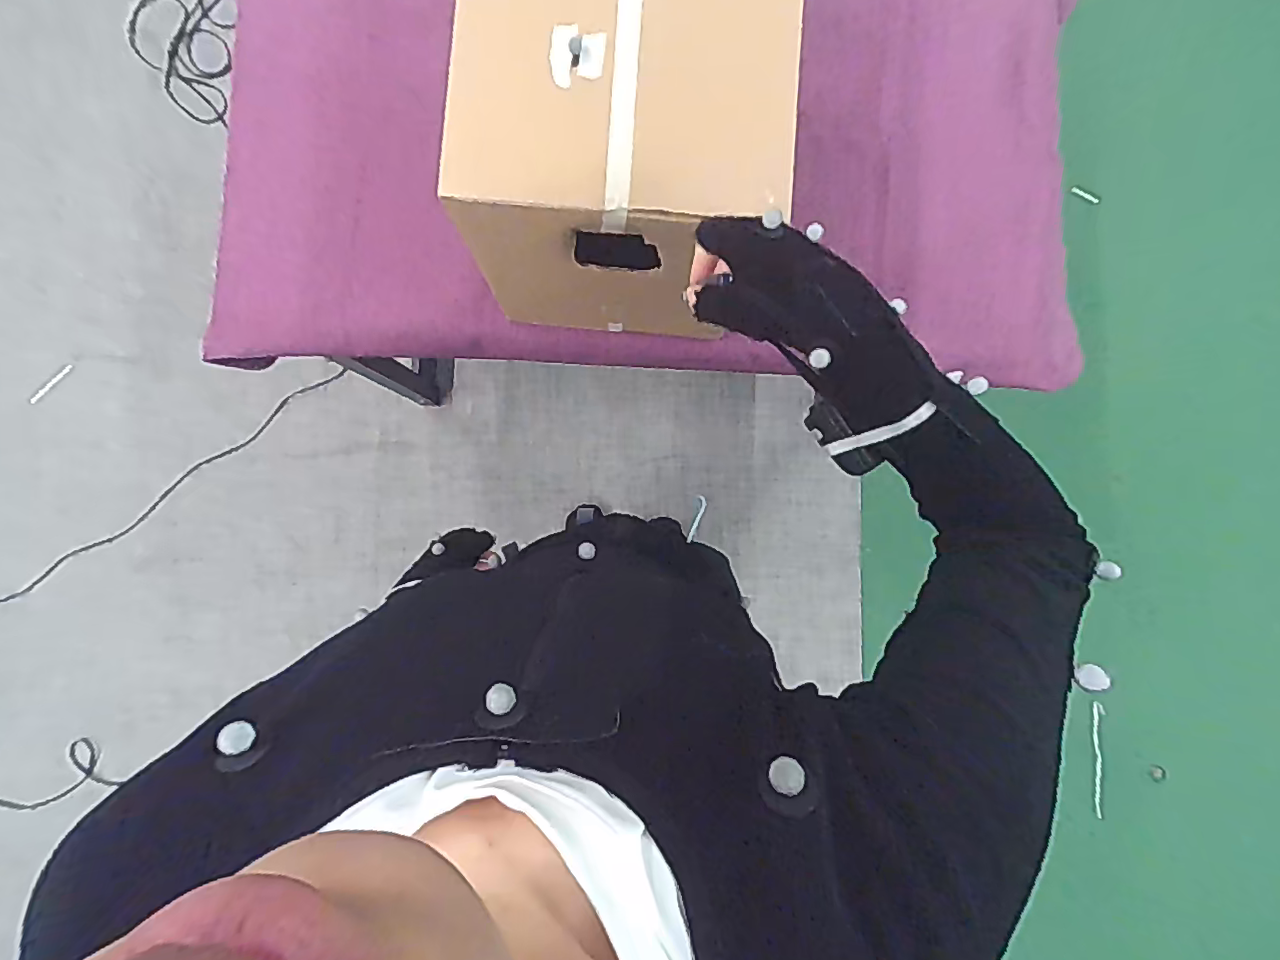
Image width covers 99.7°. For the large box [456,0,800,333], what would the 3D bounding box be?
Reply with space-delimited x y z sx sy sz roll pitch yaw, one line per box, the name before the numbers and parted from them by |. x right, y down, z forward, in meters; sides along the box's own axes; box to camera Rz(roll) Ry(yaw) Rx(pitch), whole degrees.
large box | -0.012 -0.432 0.651 0.320 0.320 0.408 5 87 -2
